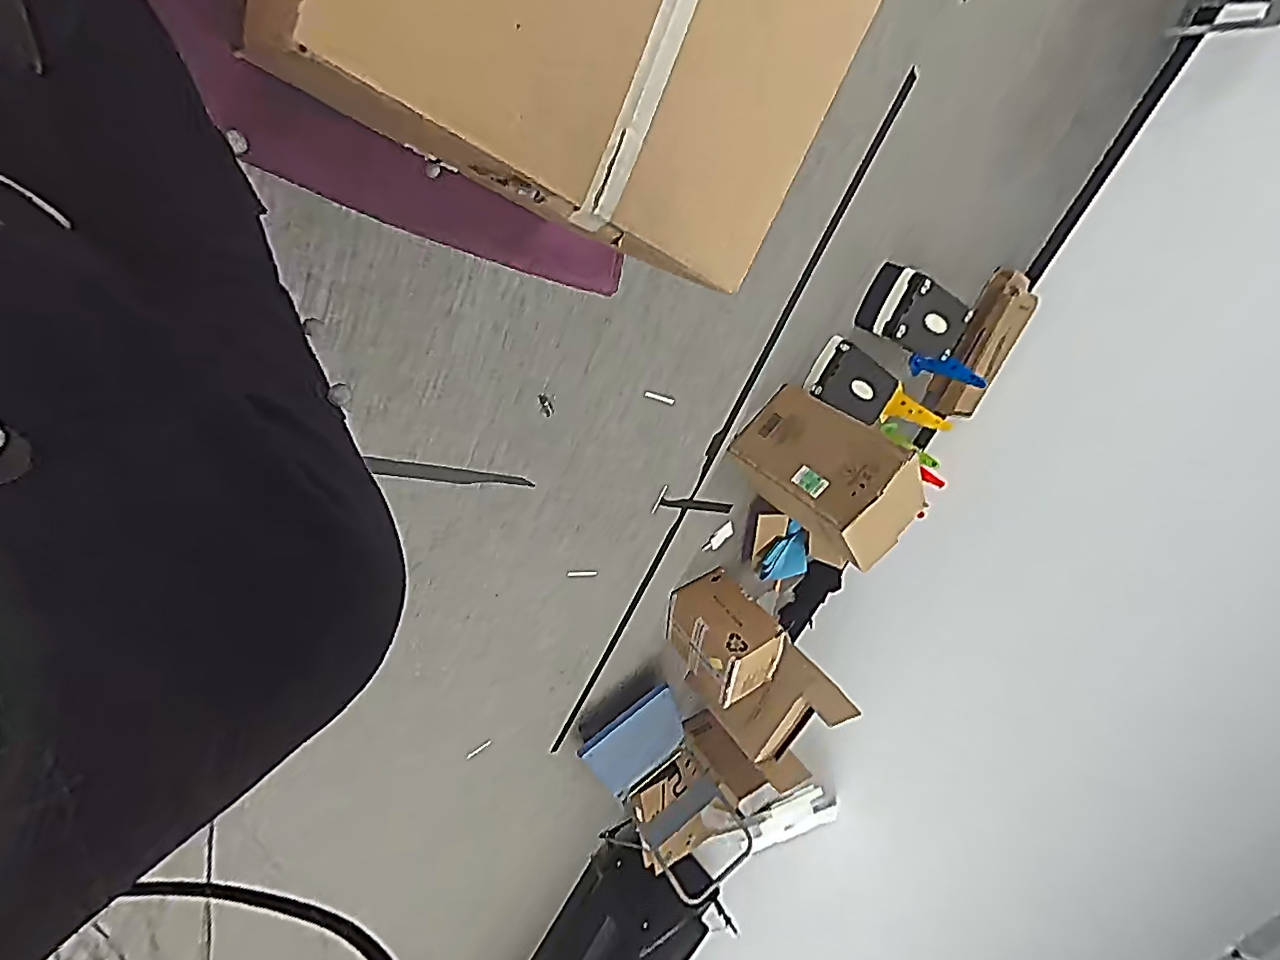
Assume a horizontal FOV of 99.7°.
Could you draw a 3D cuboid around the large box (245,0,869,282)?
[{"bbox_3d":[-0.038,-0.412,0.367,0.320,0.320,0.408,7,115,-46],"label":"large box"}]
